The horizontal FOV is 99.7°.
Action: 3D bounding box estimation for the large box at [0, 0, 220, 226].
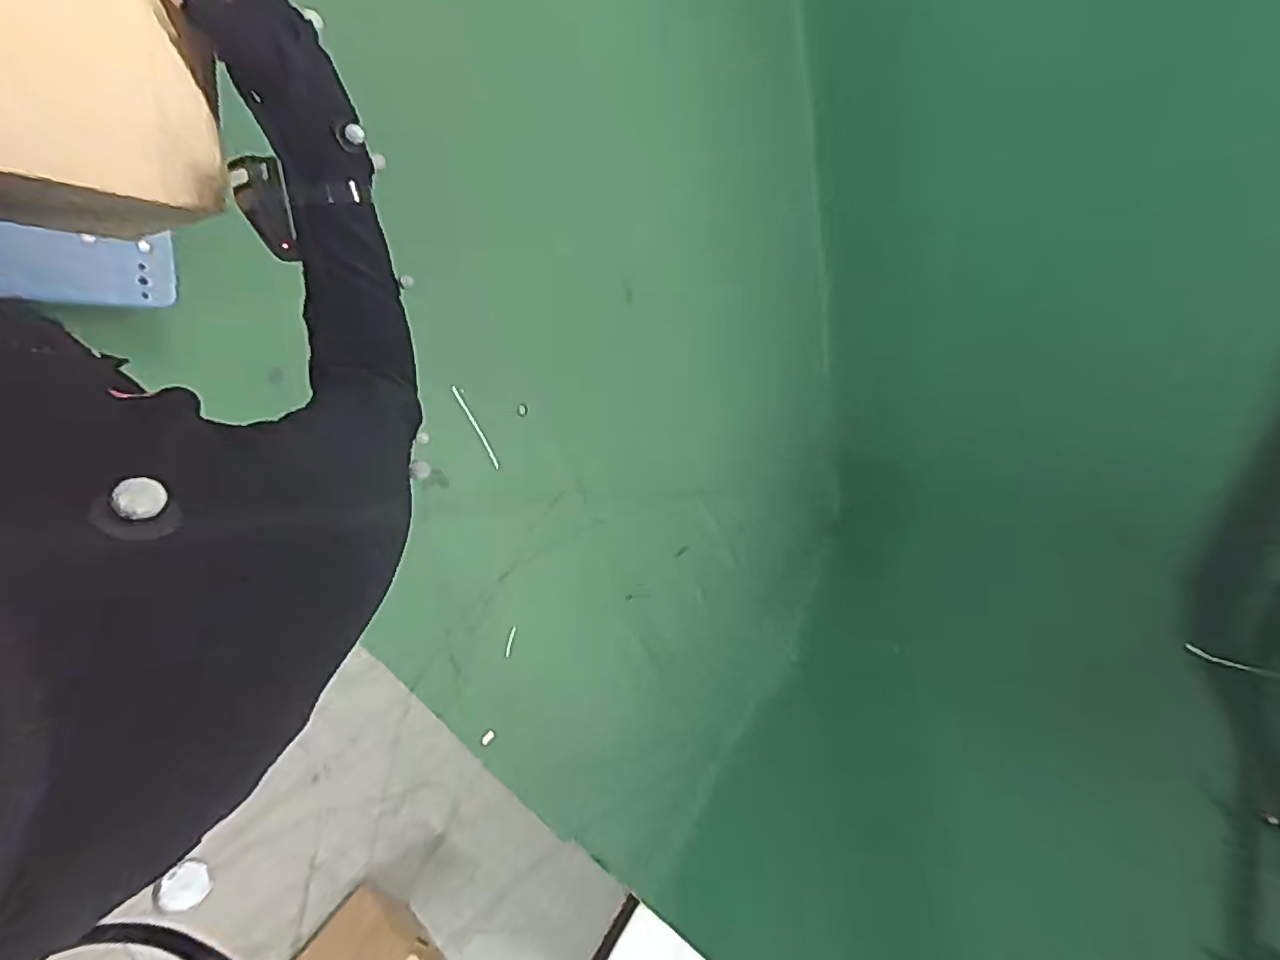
[{"bbox_3d":[-0.549,-0.360,0.307,0.408,0.320,0.320,-13,113,-52],"label":"large box"}]
